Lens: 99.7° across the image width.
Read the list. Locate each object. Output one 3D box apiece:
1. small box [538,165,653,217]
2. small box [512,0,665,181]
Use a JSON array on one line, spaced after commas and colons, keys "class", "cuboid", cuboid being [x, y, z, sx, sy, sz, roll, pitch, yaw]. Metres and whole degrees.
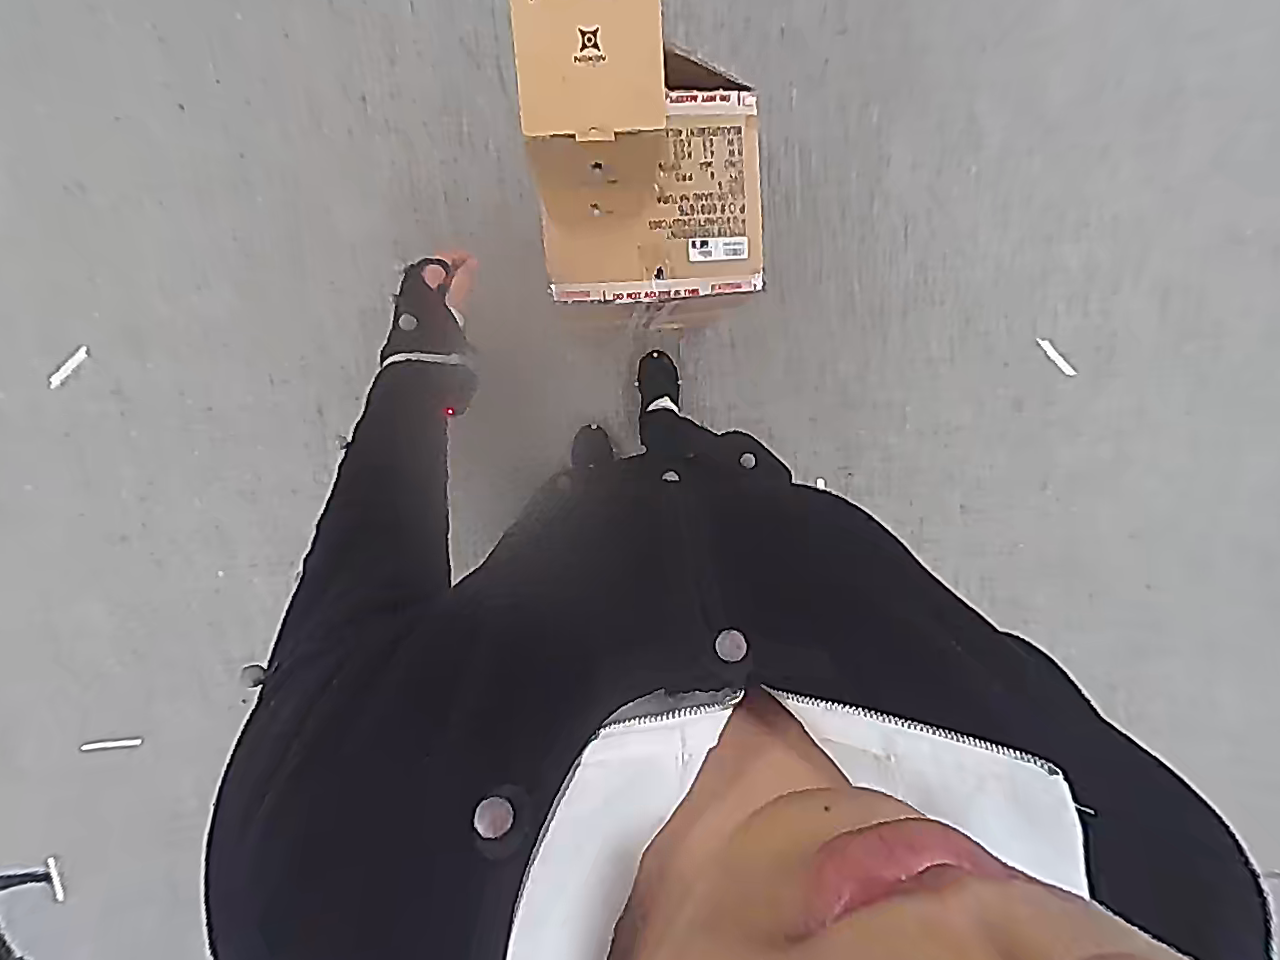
[{"class": "small box", "cuboid": [-0.073, -0.529, 0.836, 0.168, 0.176, 0.179, -6, 101, -1]}, {"class": "small box", "cuboid": [-0.058, -0.491, 0.676, 0.168, 0.176, 0.179, -4, 101, -2]}]
